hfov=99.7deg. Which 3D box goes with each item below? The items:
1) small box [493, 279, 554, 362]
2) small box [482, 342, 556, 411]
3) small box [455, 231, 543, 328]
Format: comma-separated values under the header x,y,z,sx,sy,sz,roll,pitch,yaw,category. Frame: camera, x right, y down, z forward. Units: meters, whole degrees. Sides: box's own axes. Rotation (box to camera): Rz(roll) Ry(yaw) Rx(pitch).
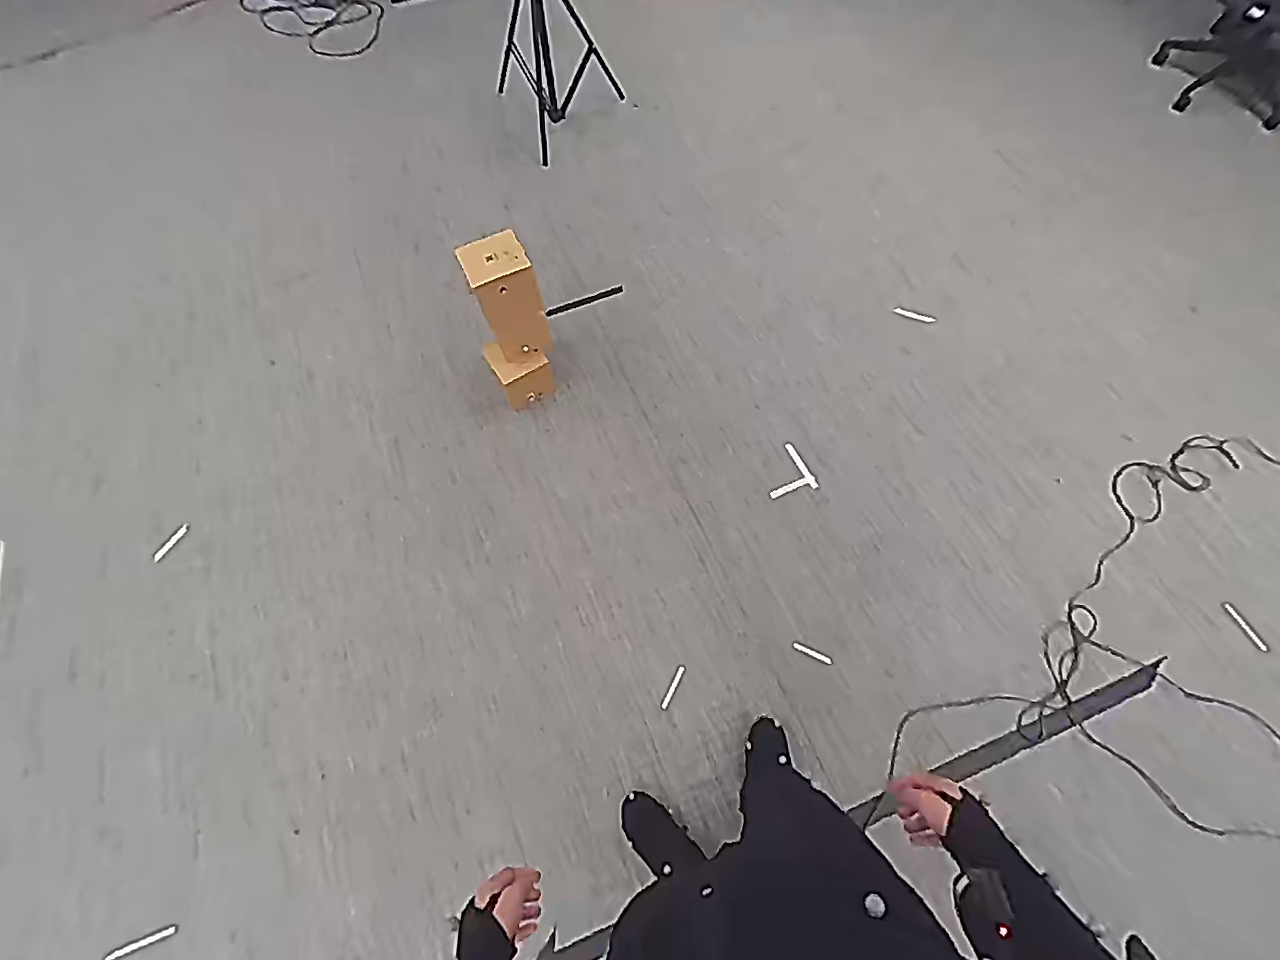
x,y,z,sx,sy,sz,roll,pitch,yaw,category
-0.381,-0.504,1.704,0.168,0.176,0.179,-18,65,-6,small box
-0.403,-0.366,1.820,0.168,0.176,0.179,-31,68,-12,small box
-0.400,-0.570,1.555,0.179,0.176,0.168,-25,66,-9,small box
